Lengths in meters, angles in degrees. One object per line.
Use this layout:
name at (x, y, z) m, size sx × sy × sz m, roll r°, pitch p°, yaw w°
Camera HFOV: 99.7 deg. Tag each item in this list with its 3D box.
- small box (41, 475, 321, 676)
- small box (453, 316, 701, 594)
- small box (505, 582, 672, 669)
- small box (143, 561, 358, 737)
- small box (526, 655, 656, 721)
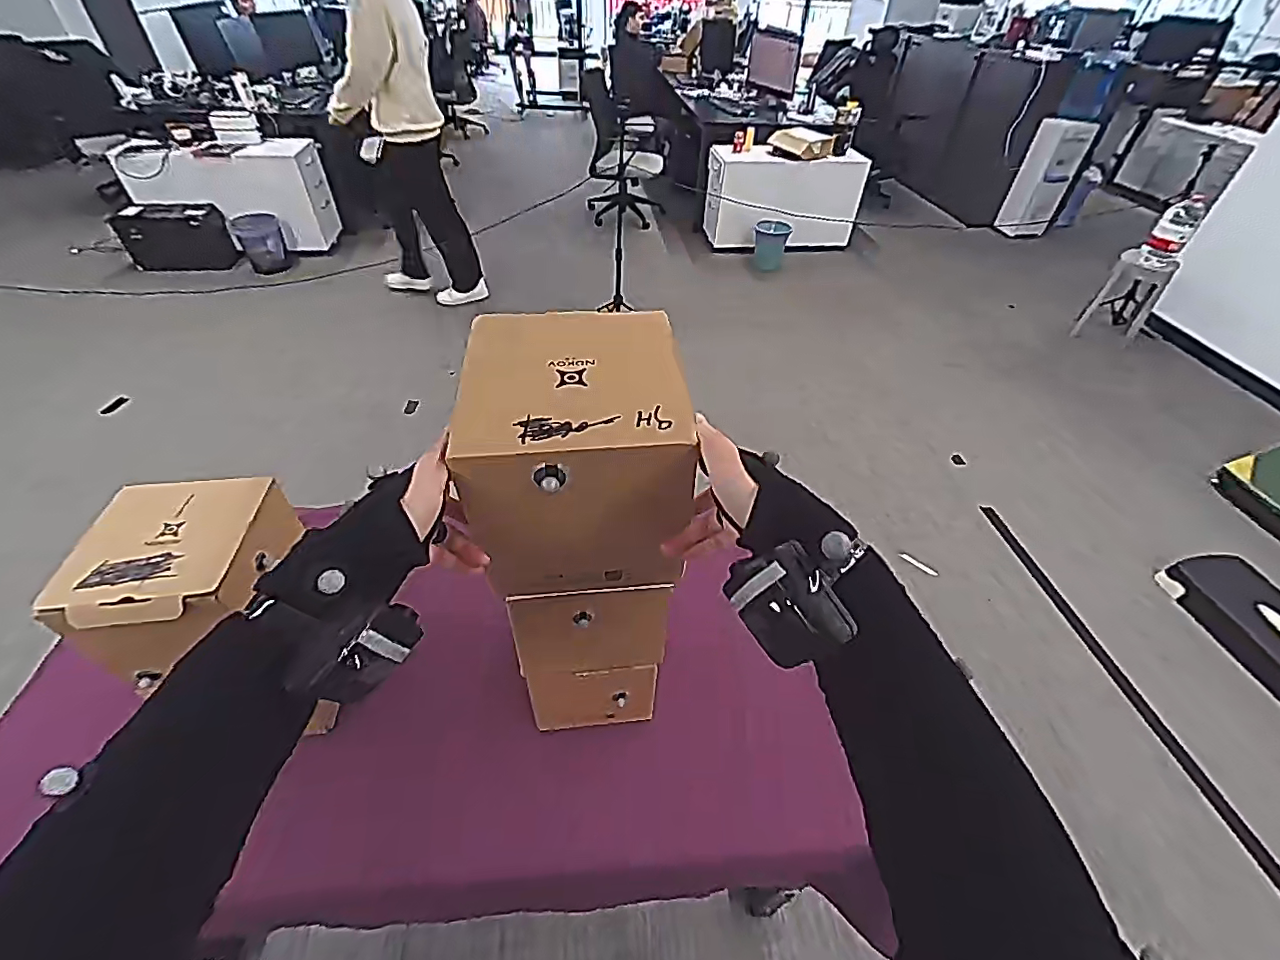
small box at (-0.512, 0.117, 0.644) m, size 0.168 × 0.176 × 0.179 m, roll -3°, pitch 44°, yaw -8°
small box at (-0.048, -0.023, 0.468) m, size 0.168 × 0.176 × 0.179 m, roll -3°, pitch 46°, yaw -4°
small box at (-0.063, 0.118, 0.668) m, size 0.179 × 0.176 × 0.168 m, roll -3°, pitch 45°, yaw -7°
small box at (-0.518, 0.235, 0.758) m, size 0.168 × 0.176 × 0.179 m, roll -3°, pitch 45°, yaw -7°
small box at (-0.069, 0.233, 0.784) m, size 0.168 × 0.176 × 0.179 m, roll -2°, pitch 44°, yaw -6°
